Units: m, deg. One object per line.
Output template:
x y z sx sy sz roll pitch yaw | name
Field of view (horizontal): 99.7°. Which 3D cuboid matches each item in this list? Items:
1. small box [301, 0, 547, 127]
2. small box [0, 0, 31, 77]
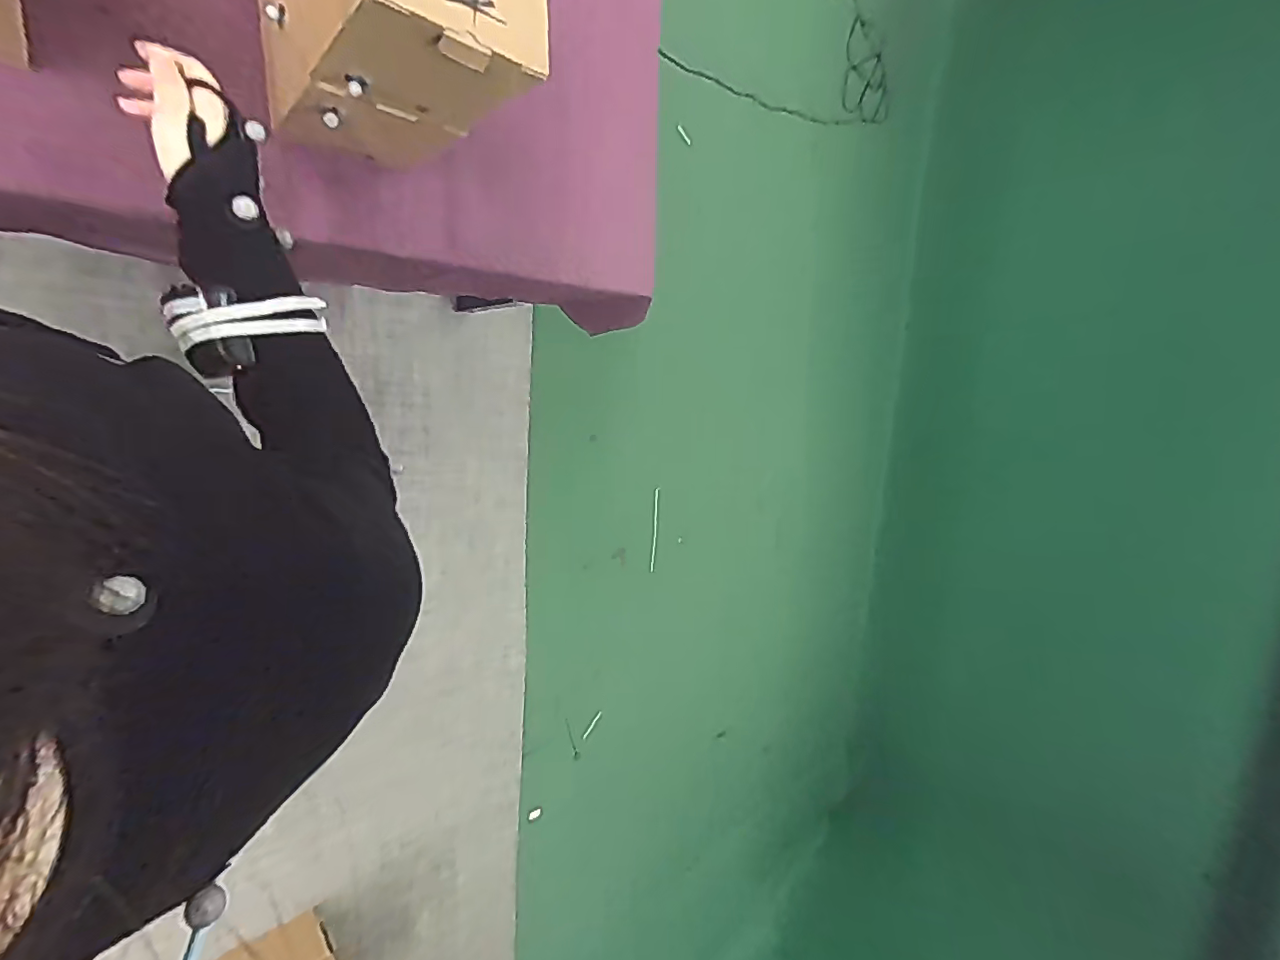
-0.205 -0.468 0.505 0.168 0.176 0.179 -11 104 -44 | small box
-0.566 -0.438 0.379 0.168 0.176 0.179 -9 104 -44 | small box
